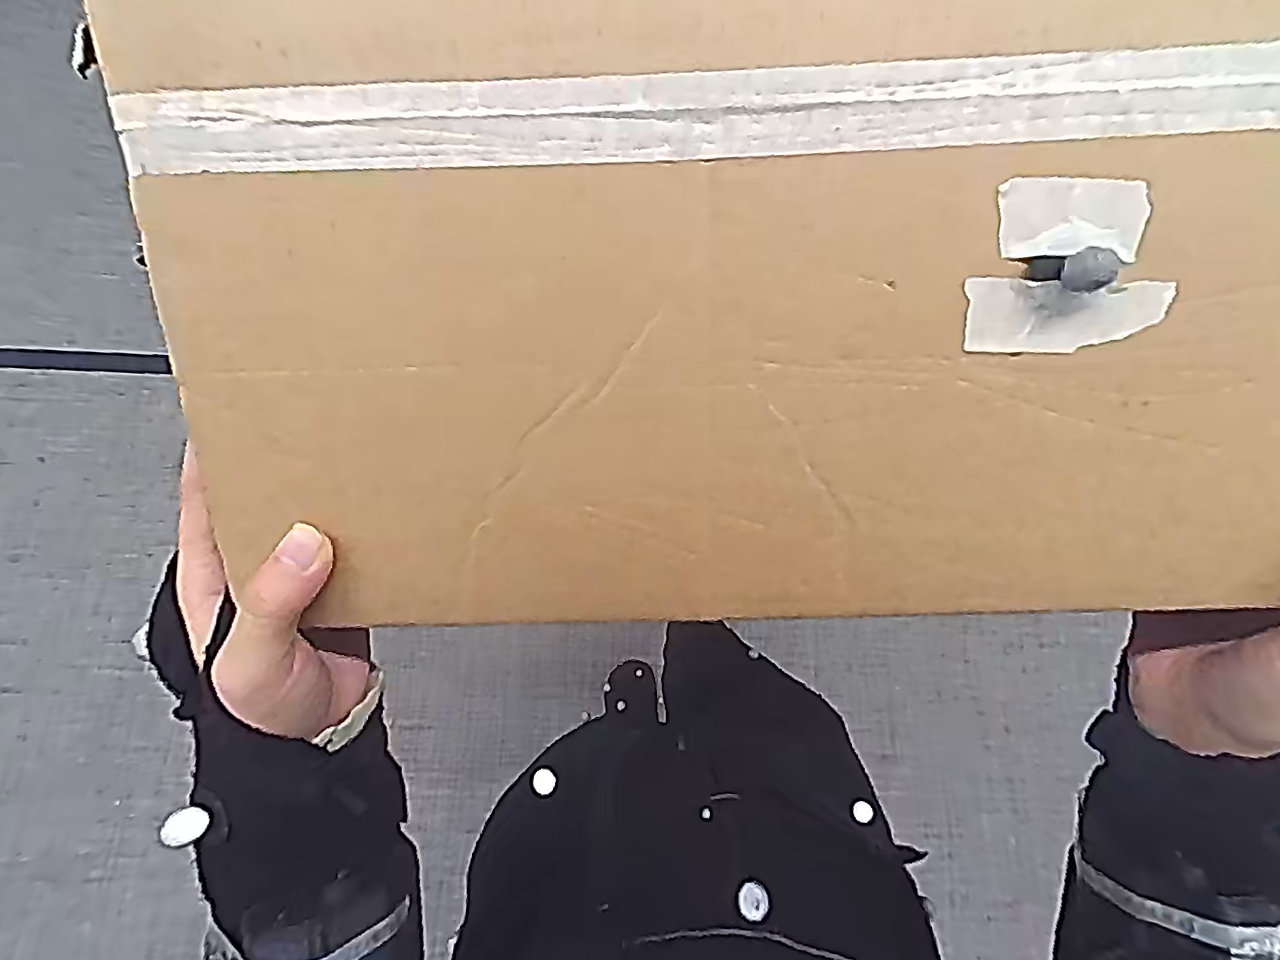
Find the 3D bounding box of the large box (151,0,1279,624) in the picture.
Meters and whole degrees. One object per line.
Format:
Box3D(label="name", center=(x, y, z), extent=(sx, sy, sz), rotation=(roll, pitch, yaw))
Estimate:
Box3D(label="large box", center=(0.053, -0.138, 0.311), extent=(0.408, 0.320, 0.320), rotation=(-2, 104, 0))
